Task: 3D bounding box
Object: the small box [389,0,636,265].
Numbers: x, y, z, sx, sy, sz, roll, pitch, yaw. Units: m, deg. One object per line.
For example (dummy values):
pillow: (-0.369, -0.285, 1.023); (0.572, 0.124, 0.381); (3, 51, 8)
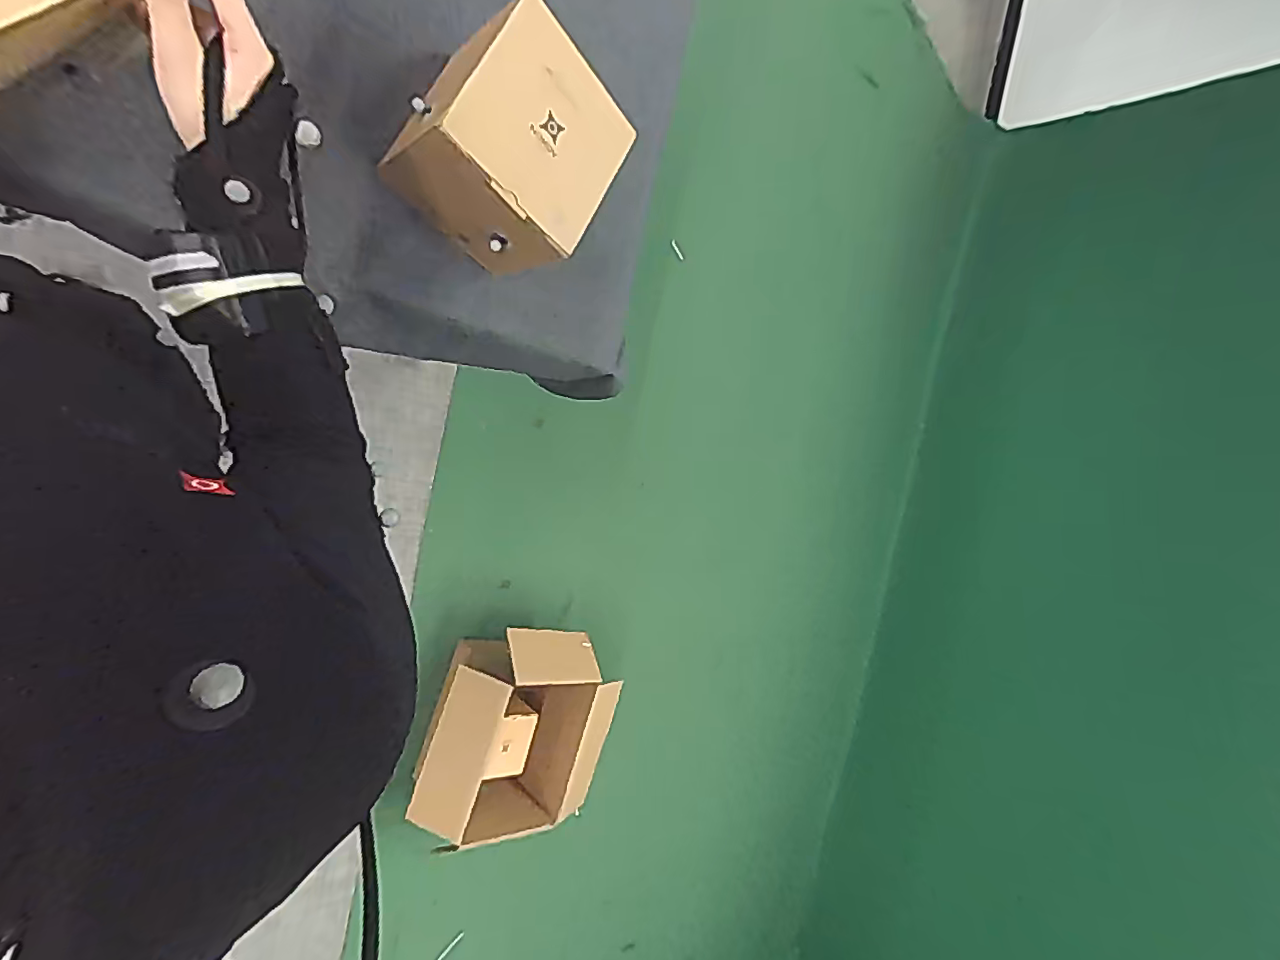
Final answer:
small box: (-0.142, -0.360, 0.586); (0.168, 0.176, 0.179); (36, 73, -43)
